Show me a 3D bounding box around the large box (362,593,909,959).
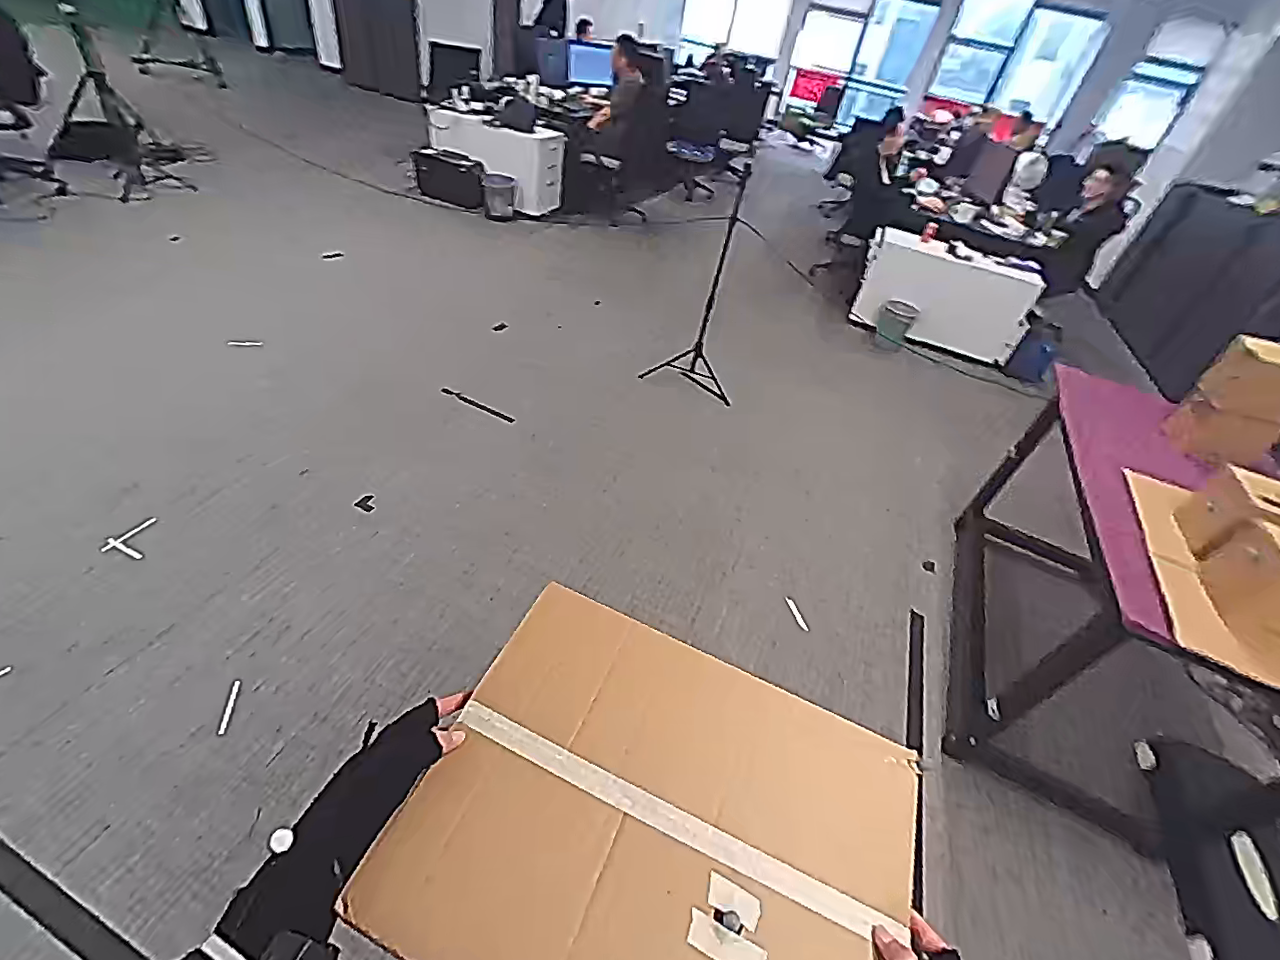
[{"bbox_3d":[0.005,0.393,0.572,0.408,0.320,0.320,23,47,10],"label":"large box"}]
